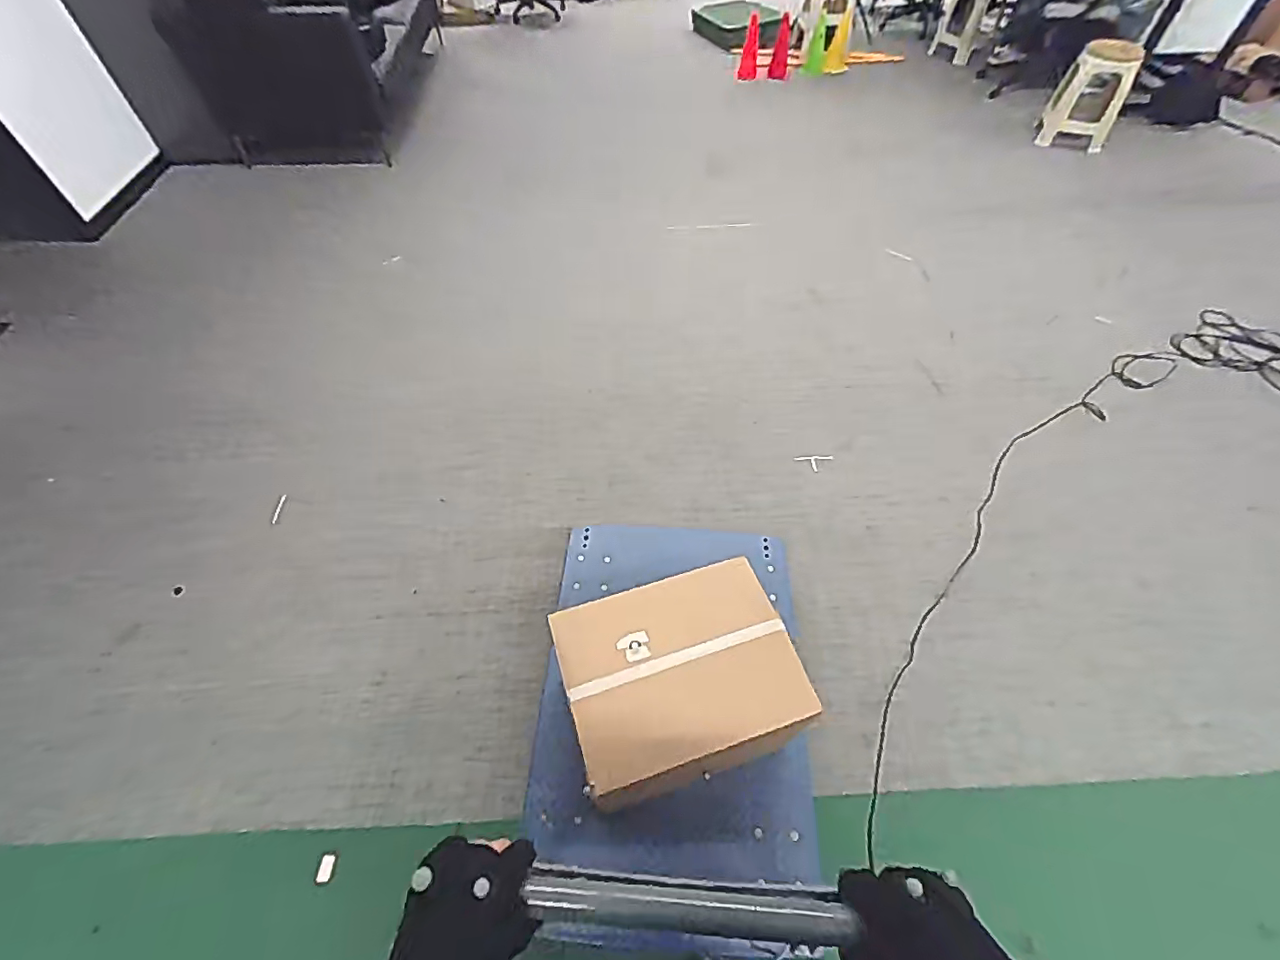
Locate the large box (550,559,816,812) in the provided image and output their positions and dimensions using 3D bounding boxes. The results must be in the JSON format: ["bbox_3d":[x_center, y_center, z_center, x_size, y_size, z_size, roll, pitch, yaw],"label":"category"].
[{"bbox_3d":[0.069,0.413,1.081,0.408,0.320,0.320,-16,54,-10],"label":"large box"}]
